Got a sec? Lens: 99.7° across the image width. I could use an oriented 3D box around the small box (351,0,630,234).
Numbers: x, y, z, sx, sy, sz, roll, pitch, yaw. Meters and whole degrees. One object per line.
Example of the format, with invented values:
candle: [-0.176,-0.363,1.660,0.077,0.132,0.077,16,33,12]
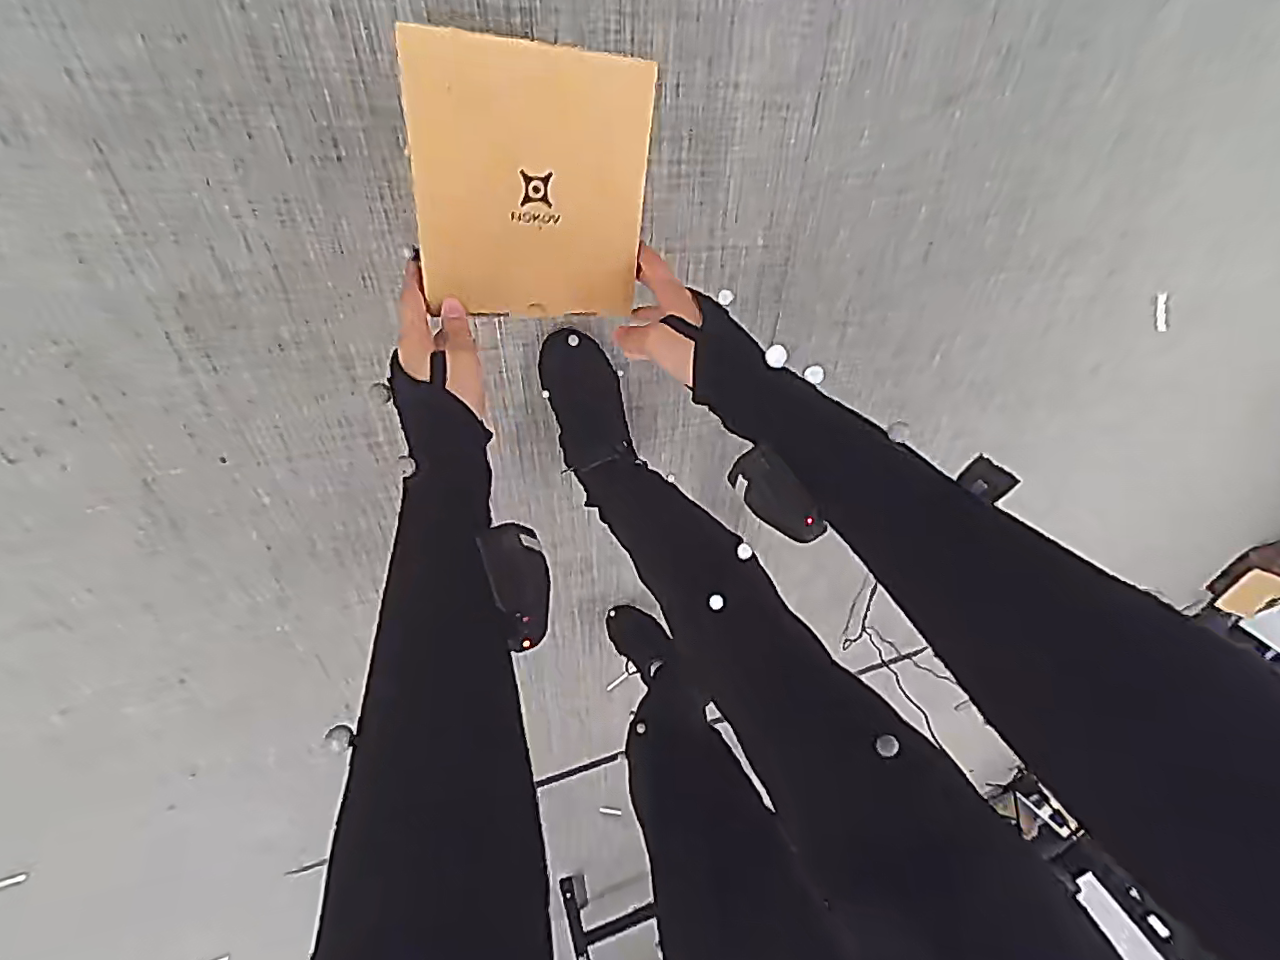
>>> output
small box: [-0.117,-0.301,0.402,0.168,0.176,0.179,-7,131,-20]
